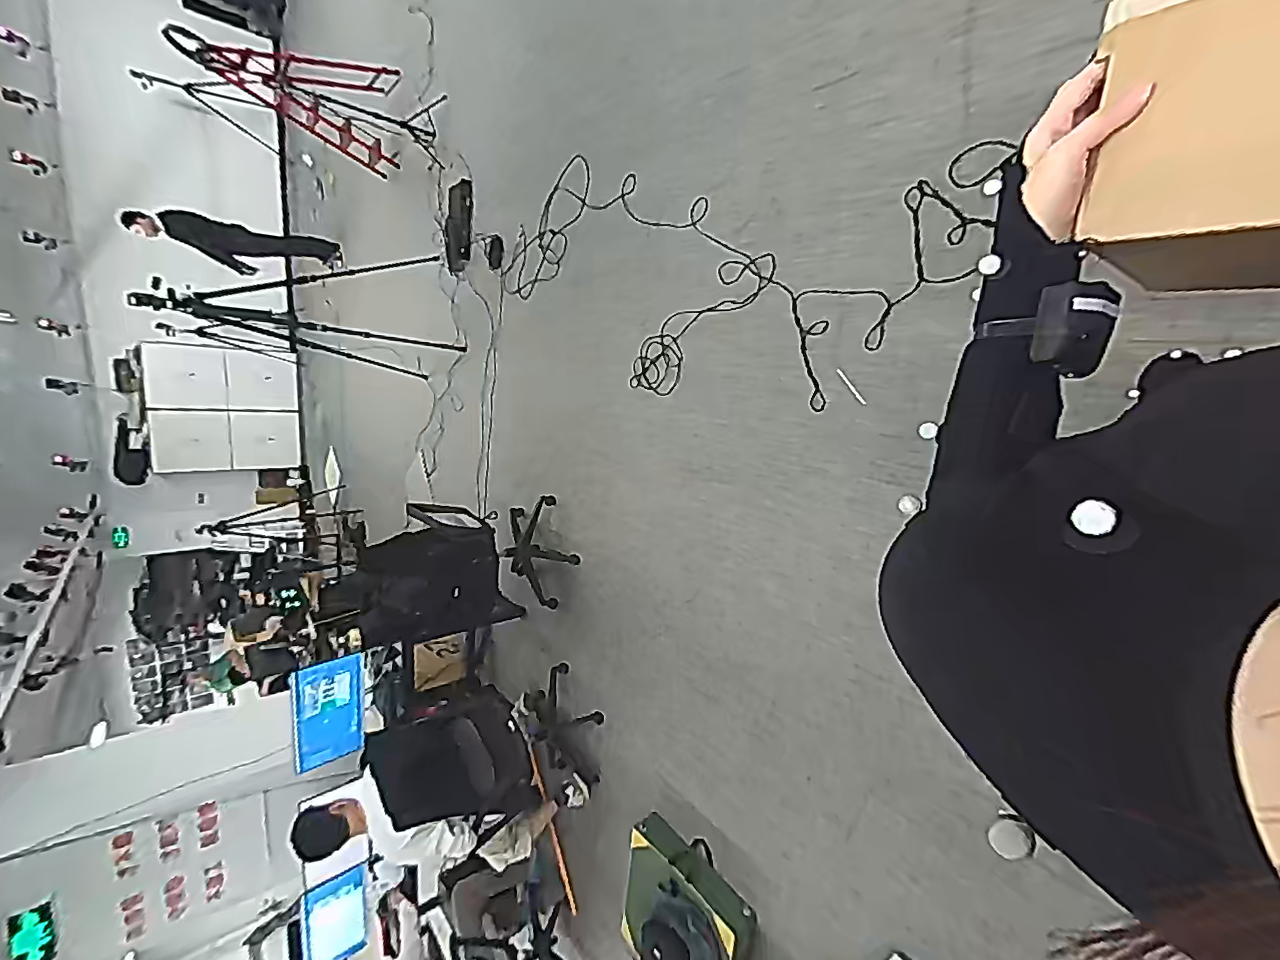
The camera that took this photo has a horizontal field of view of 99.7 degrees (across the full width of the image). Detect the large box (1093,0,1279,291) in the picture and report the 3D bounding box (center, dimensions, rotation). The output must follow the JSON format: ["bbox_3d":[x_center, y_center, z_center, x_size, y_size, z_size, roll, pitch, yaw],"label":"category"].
[{"bbox_3d":[0.591,-0.312,0.336,0.408,0.320,0.320,16,108,47],"label":"large box"}]
